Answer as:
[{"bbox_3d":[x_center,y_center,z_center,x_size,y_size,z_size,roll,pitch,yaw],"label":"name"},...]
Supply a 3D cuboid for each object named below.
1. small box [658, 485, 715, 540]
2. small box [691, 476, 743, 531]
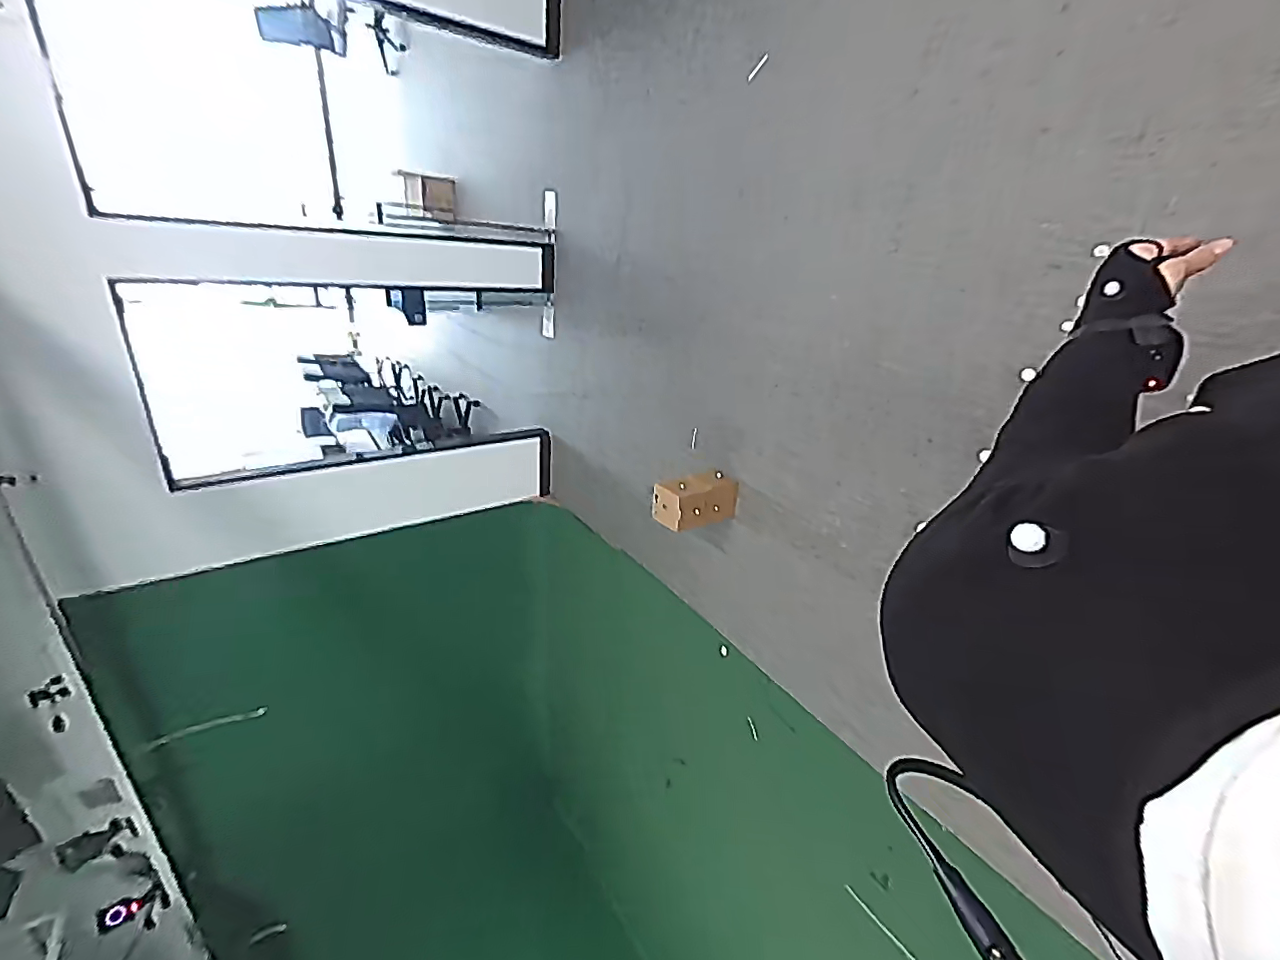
[{"bbox_3d":[0.197,0.130,2.289,0.179,0.176,0.168,29,122,48],"label":"small box"},{"bbox_3d":[0.331,0.100,2.379,0.168,0.176,0.179,33,124,47],"label":"small box"}]
